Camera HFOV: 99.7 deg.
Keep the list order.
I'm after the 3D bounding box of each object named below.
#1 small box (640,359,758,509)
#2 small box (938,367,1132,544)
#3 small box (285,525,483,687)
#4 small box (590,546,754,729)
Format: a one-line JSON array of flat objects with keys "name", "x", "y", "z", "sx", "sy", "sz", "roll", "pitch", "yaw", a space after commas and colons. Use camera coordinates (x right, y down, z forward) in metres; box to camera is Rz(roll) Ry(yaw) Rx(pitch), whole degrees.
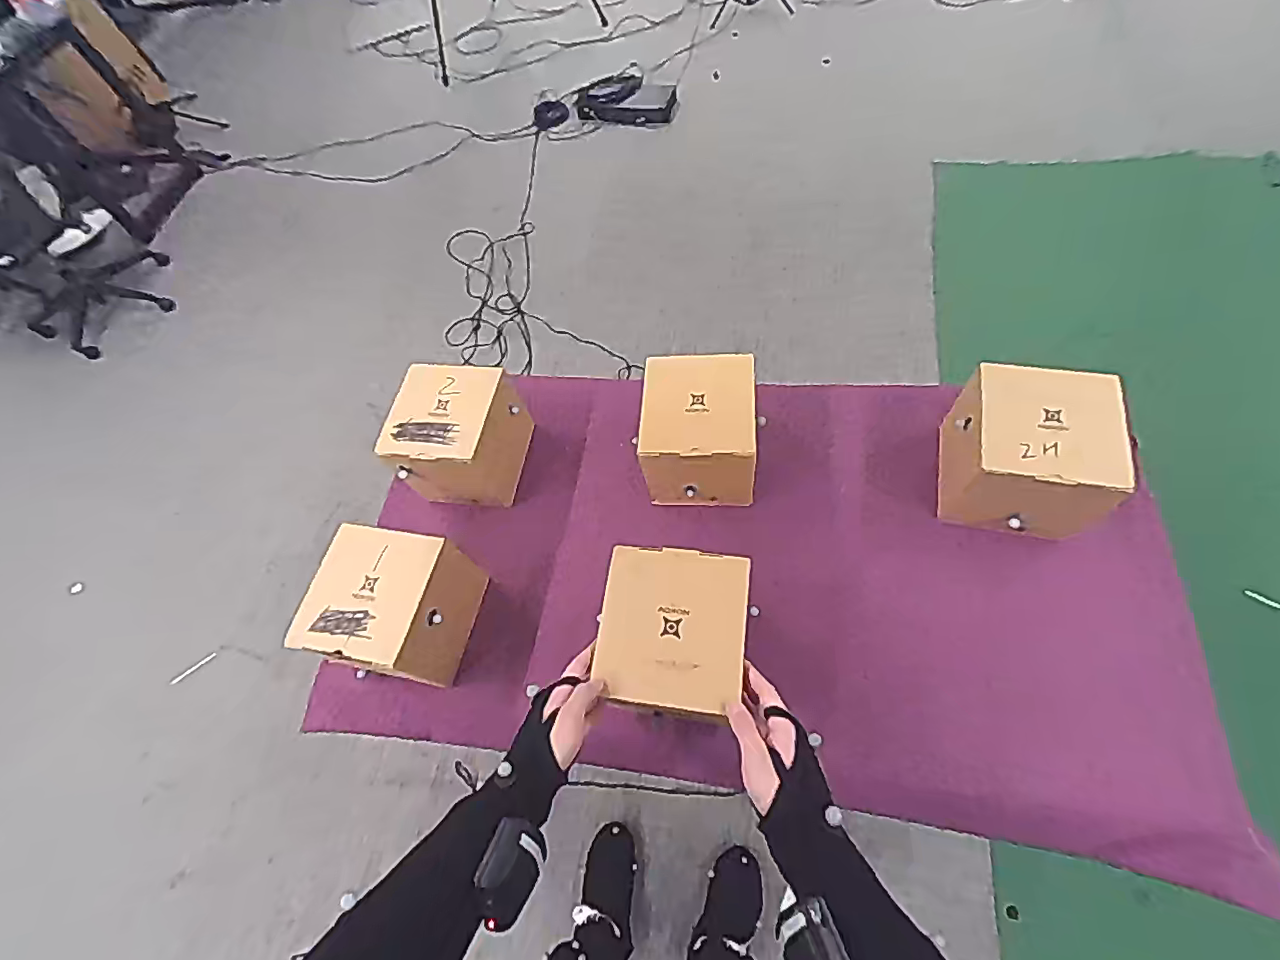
[{"name": "small box", "x": 0.096, "y": -0.069, "z": 0.853, "sx": 0.168, "sy": 0.176, "sz": 0.179, "roll": 0, "pitch": 64, "yaw": 8}, {"name": "small box", "x": 0.537, "y": -0.031, "z": 0.763, "sx": 0.168, "sy": 0.176, "sz": 0.179, "roll": 10, "pitch": 65, "yaw": 14}, {"name": "small box", "x": -0.349, "y": 0.187, "z": 0.780, "sx": 0.168, "sy": 0.176, "sz": 0.179, "roll": 7, "pitch": 62, "yaw": 12}, {"name": "small box", "x": 0.048, "y": 0.200, "z": 0.675, "sx": 0.168, "sy": 0.176, "sz": 0.179, "roll": 5, "pitch": 64, "yaw": 11}]
